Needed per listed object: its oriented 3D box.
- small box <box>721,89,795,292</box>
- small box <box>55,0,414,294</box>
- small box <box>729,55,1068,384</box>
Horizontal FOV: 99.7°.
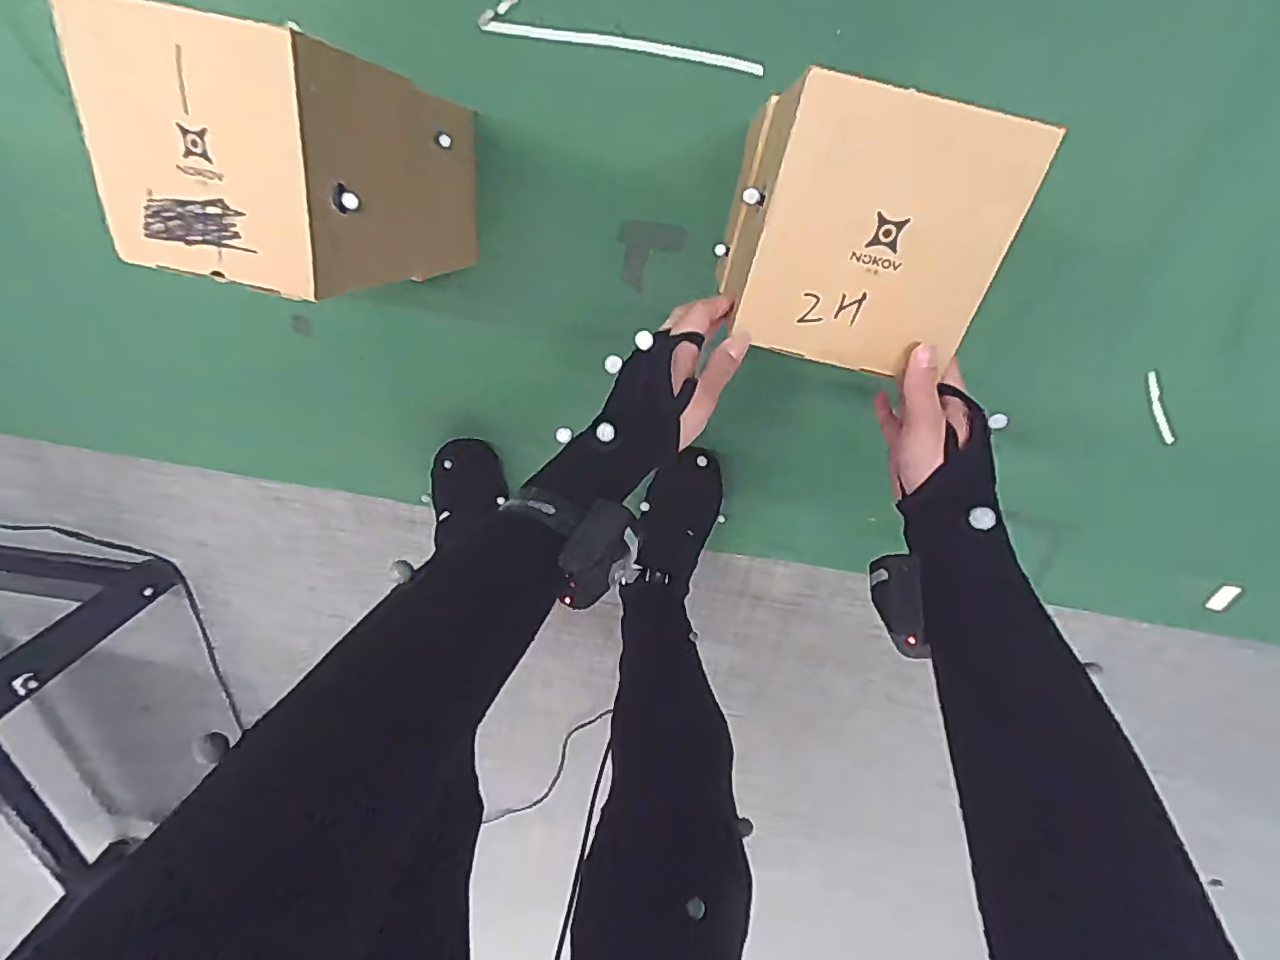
[{"bbox_3d":[0.187,-0.288,0.580,0.168,0.176,0.179,12,121,-1],"label":"small box"},{"bbox_3d":[-0.307,-0.275,0.456,0.168,0.176,0.179,12,118,0],"label":"small box"},{"bbox_3d":[0.174,-0.204,0.439,0.168,0.176,0.179,14,120,-1],"label":"small box"}]
